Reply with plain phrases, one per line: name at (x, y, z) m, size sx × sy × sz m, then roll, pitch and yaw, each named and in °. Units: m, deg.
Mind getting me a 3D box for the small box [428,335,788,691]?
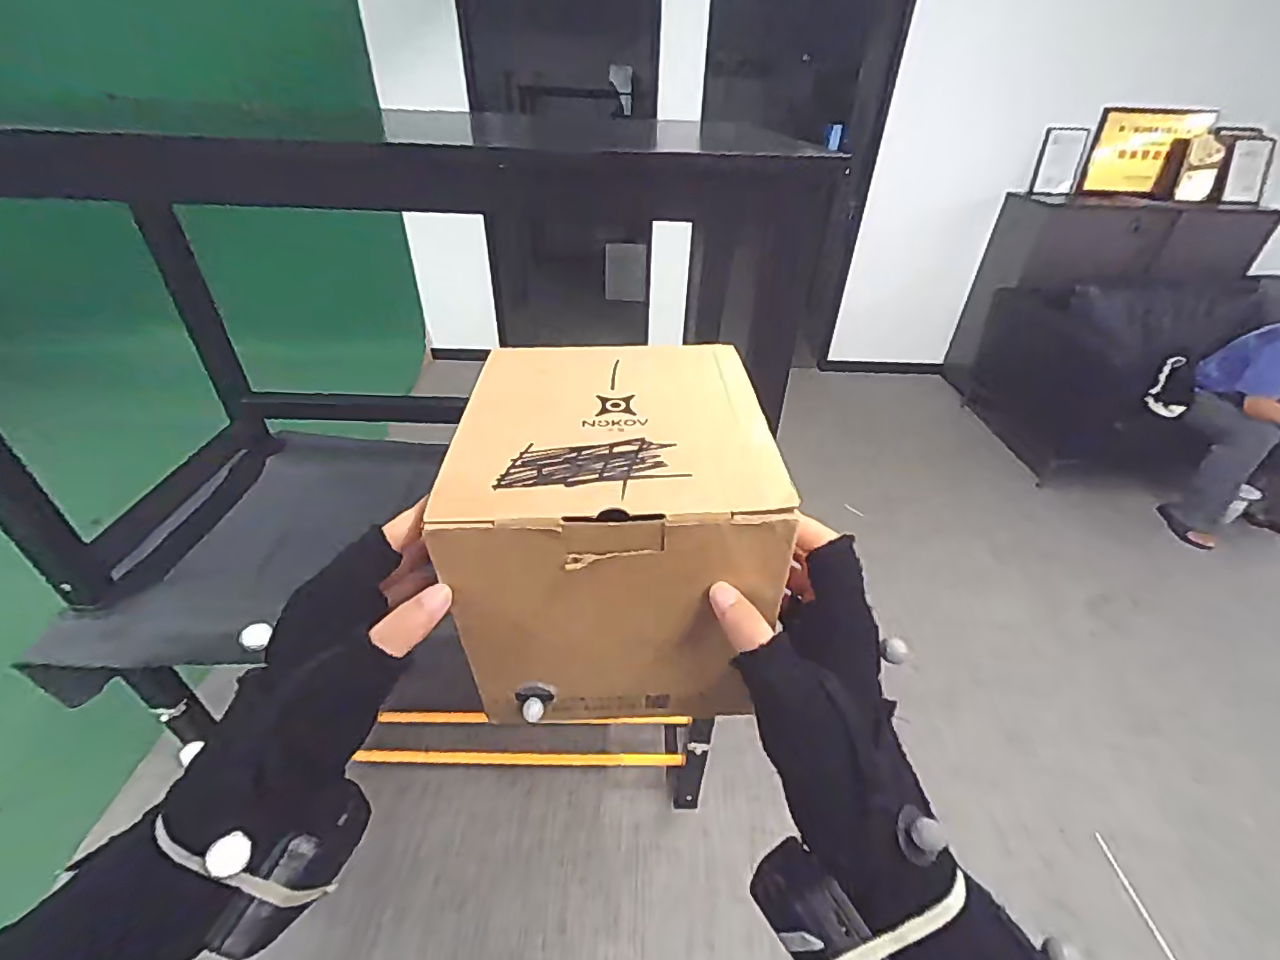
small box at (-0.014, 0.020, 0.353) m, size 0.168 × 0.176 × 0.179 m, roll -1°, pitch 37°, yaw -1°
